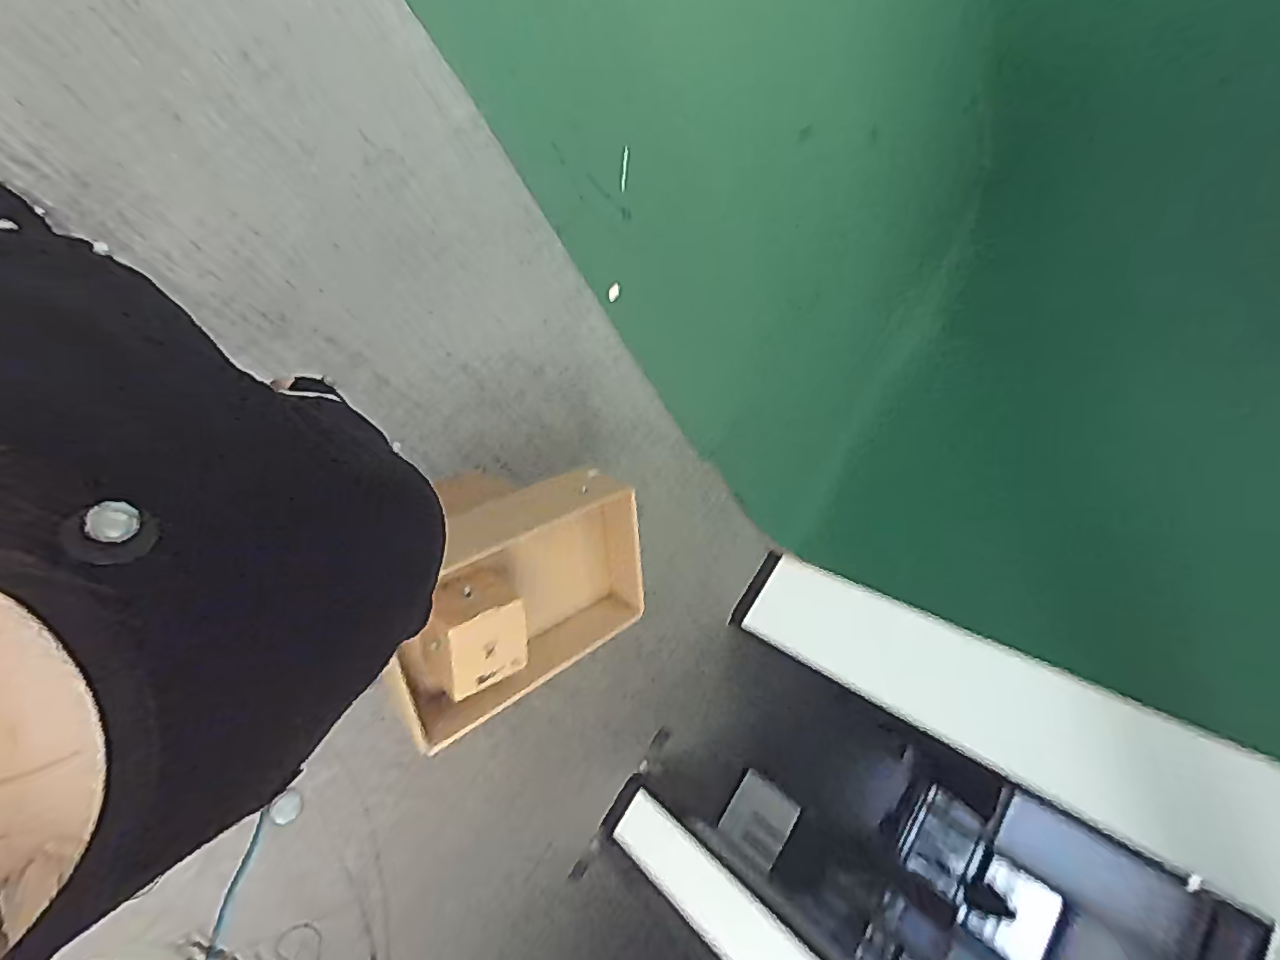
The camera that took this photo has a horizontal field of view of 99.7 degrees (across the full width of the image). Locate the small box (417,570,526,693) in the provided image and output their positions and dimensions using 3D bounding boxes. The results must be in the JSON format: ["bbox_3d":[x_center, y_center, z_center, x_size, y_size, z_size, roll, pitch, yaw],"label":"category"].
[{"bbox_3d":[-0.363,0.311,1.164,0.168,0.176,0.179,-17,116,-39],"label":"small box"}]
